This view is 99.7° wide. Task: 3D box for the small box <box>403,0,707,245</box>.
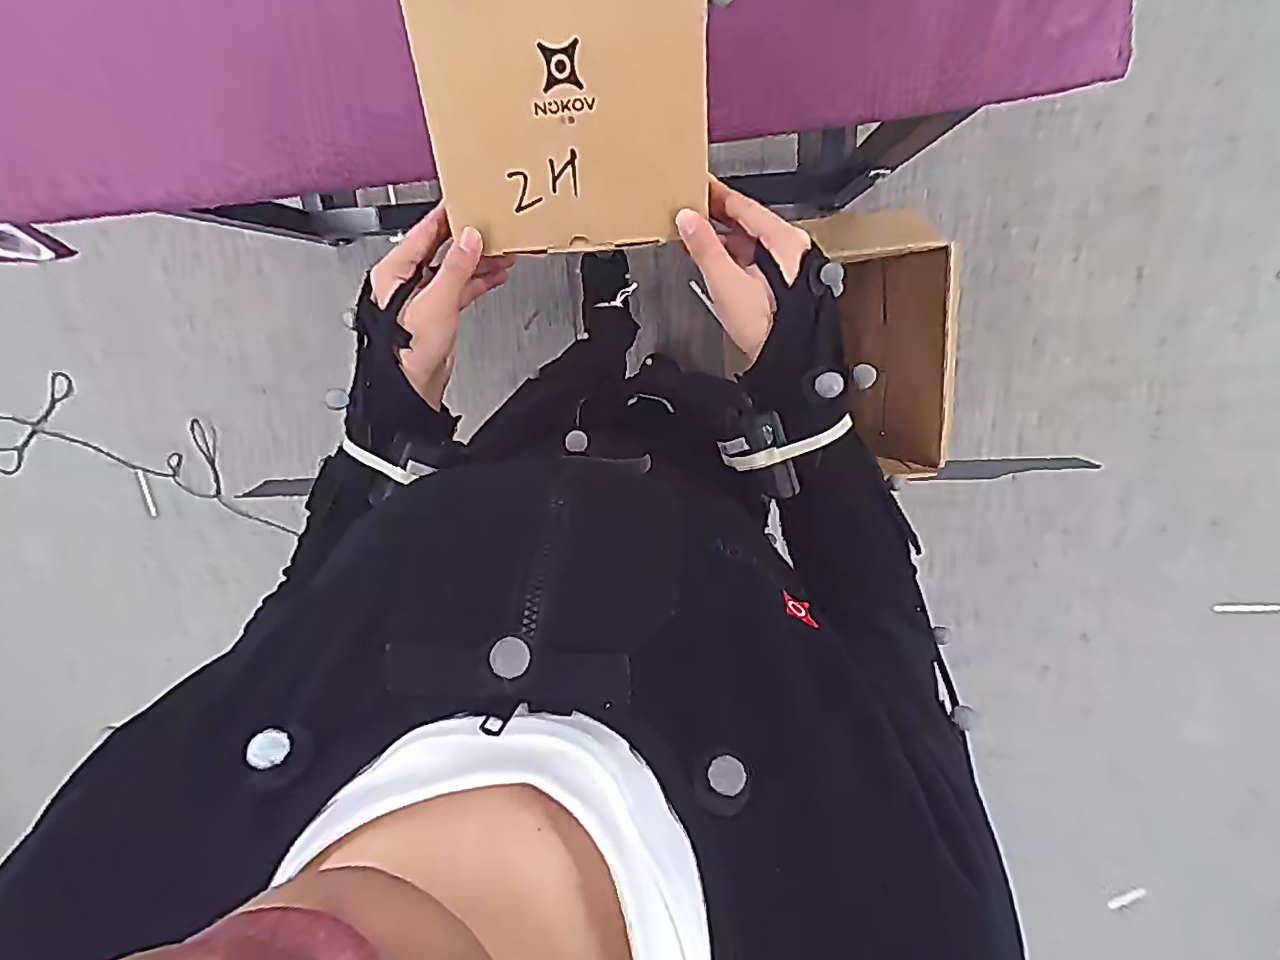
[{"bbox_3d":[-0.039,-0.265,0.373,0.168,0.176,0.179,-1,117,6],"label":"small box"}]
